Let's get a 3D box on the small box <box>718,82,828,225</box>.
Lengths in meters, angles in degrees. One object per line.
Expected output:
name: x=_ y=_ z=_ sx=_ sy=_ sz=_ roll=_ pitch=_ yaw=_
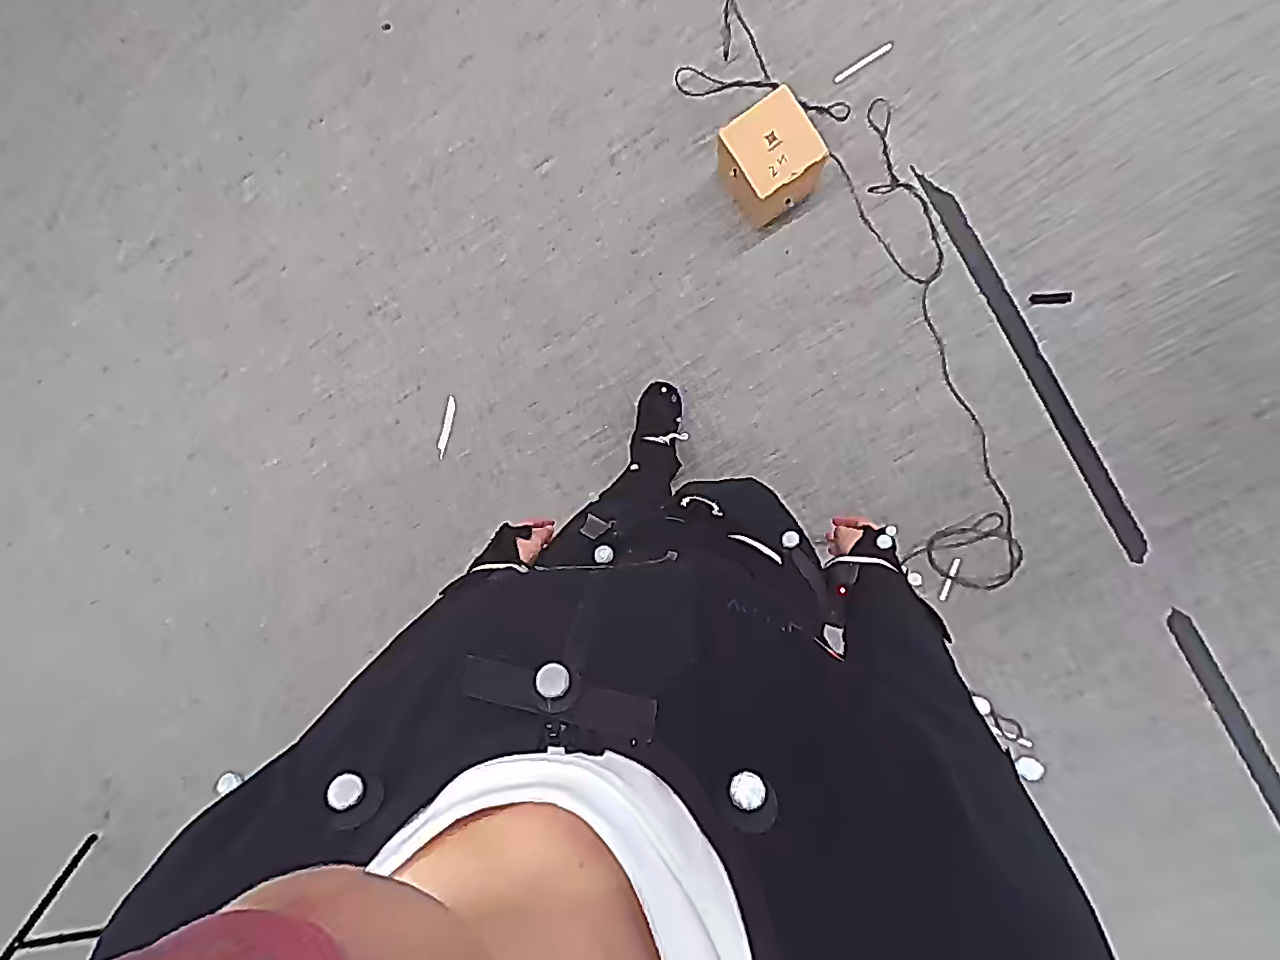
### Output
small box: x=0.284 y=-0.707 z=1.195 sx=0.168 sy=0.176 sz=0.179 roll=-32 pitch=89 yaw=9
